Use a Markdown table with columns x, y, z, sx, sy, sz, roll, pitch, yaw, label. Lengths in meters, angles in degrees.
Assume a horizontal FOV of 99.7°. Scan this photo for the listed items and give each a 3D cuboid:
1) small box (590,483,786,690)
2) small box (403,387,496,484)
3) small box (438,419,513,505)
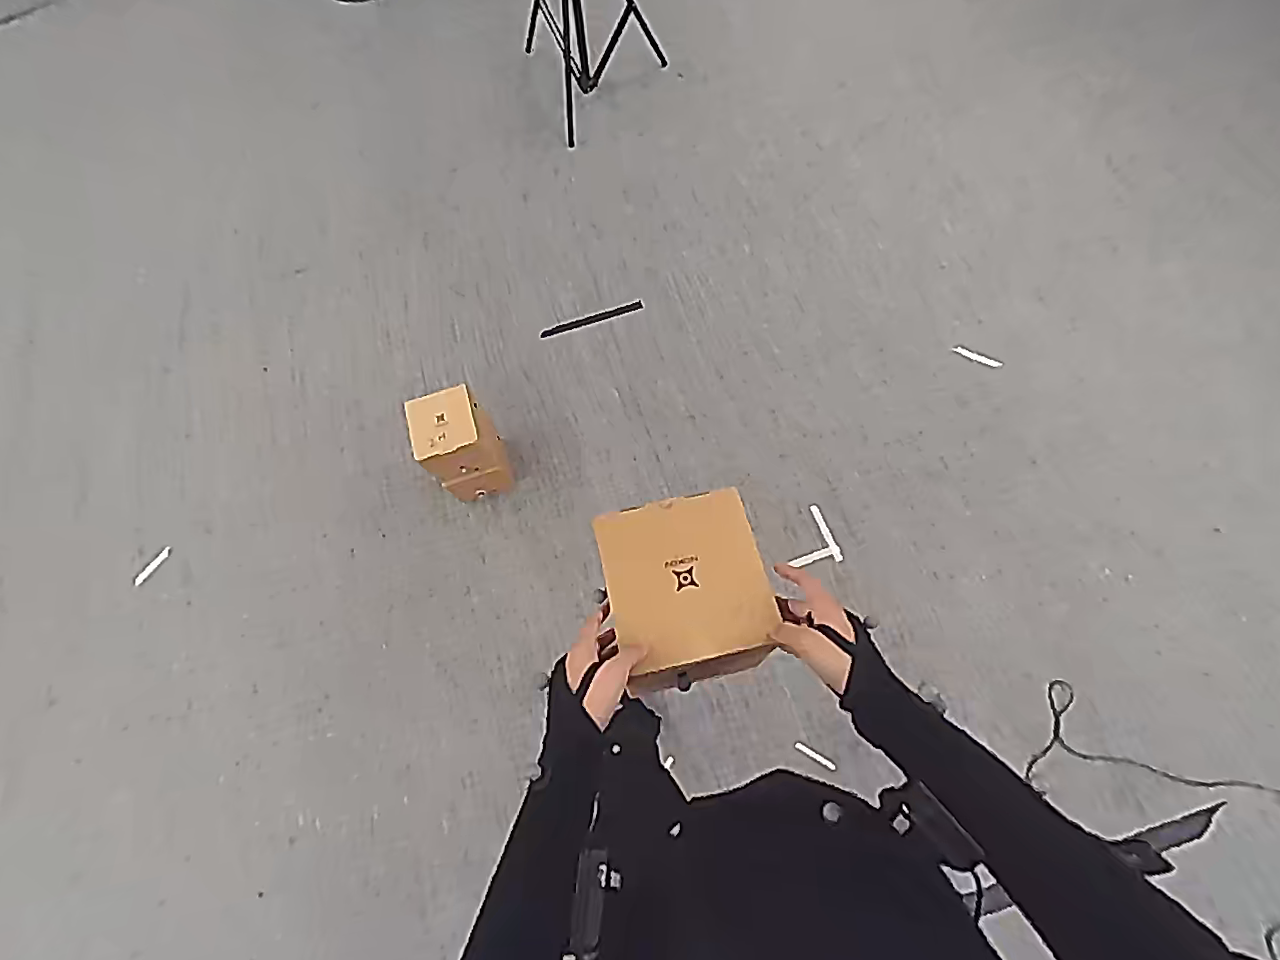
| x | y | z | sx | sy | sz | roll | pitch | yaw | label |
| --- | --- | --- | --- | --- | --- | --- | --- | --- | --- |
| 0.046 | 0.130 | 0.613 | 0.168 | 0.176 | 0.179 | -12 | 62 | -5 | small box |
| -0.496 | -0.112 | 1.423 | 0.168 | 0.176 | 0.179 | -18 | 71 | -2 | small box |
| -0.485 | -0.049 | 1.574 | 0.168 | 0.176 | 0.179 | -18 | 70 | -3 | small box |
